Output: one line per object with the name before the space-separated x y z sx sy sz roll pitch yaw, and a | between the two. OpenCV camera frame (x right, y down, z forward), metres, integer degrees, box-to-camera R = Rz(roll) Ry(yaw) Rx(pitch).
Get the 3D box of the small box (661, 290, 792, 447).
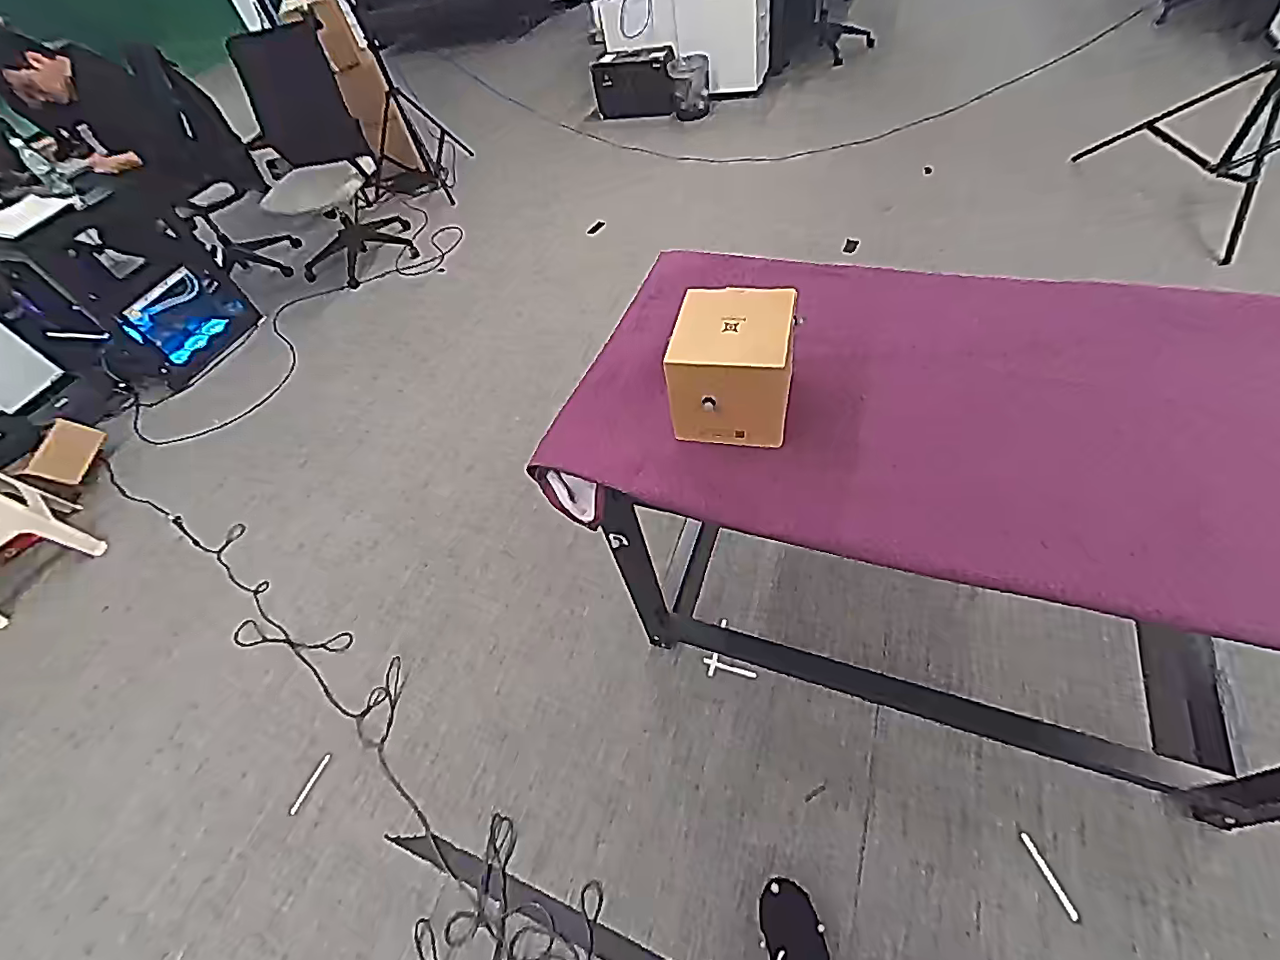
small box | 0.141 -0.169 0.834 0.168 0.176 0.179 6 53 16
